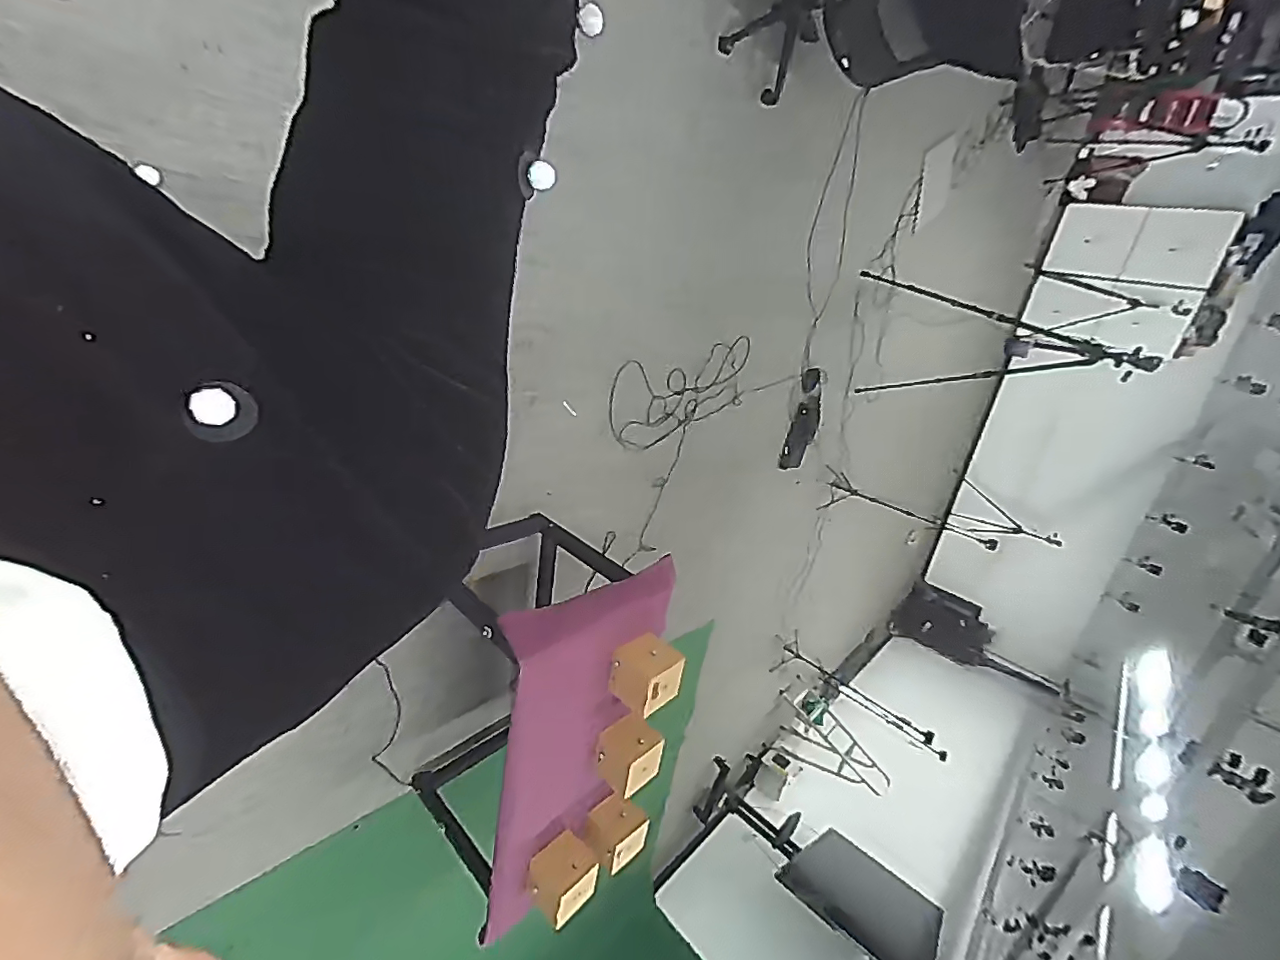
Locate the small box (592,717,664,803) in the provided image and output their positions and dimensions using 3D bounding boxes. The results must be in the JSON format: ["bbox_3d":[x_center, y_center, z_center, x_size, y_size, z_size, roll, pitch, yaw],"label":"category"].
[{"bbox_3d":[-0.045,0.981,1.913,0.179,0.176,0.168,-12,118,-46],"label":"small box"}]

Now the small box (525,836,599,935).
[{"bbox_3d":[-0.272,1.390,1.868,0.179,0.176,0.168,-12,118,-48],"label":"small box"}]

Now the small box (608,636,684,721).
[{"bbox_3d":[0.015,0.650,1.790,0.179,0.176,0.168,-14,121,-46],"label":"small box"}]

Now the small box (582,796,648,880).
[{"bbox_3d":[-0.097,1.352,2.060,0.179,0.176,0.168,-13,119,-46],"label":"small box"}]
